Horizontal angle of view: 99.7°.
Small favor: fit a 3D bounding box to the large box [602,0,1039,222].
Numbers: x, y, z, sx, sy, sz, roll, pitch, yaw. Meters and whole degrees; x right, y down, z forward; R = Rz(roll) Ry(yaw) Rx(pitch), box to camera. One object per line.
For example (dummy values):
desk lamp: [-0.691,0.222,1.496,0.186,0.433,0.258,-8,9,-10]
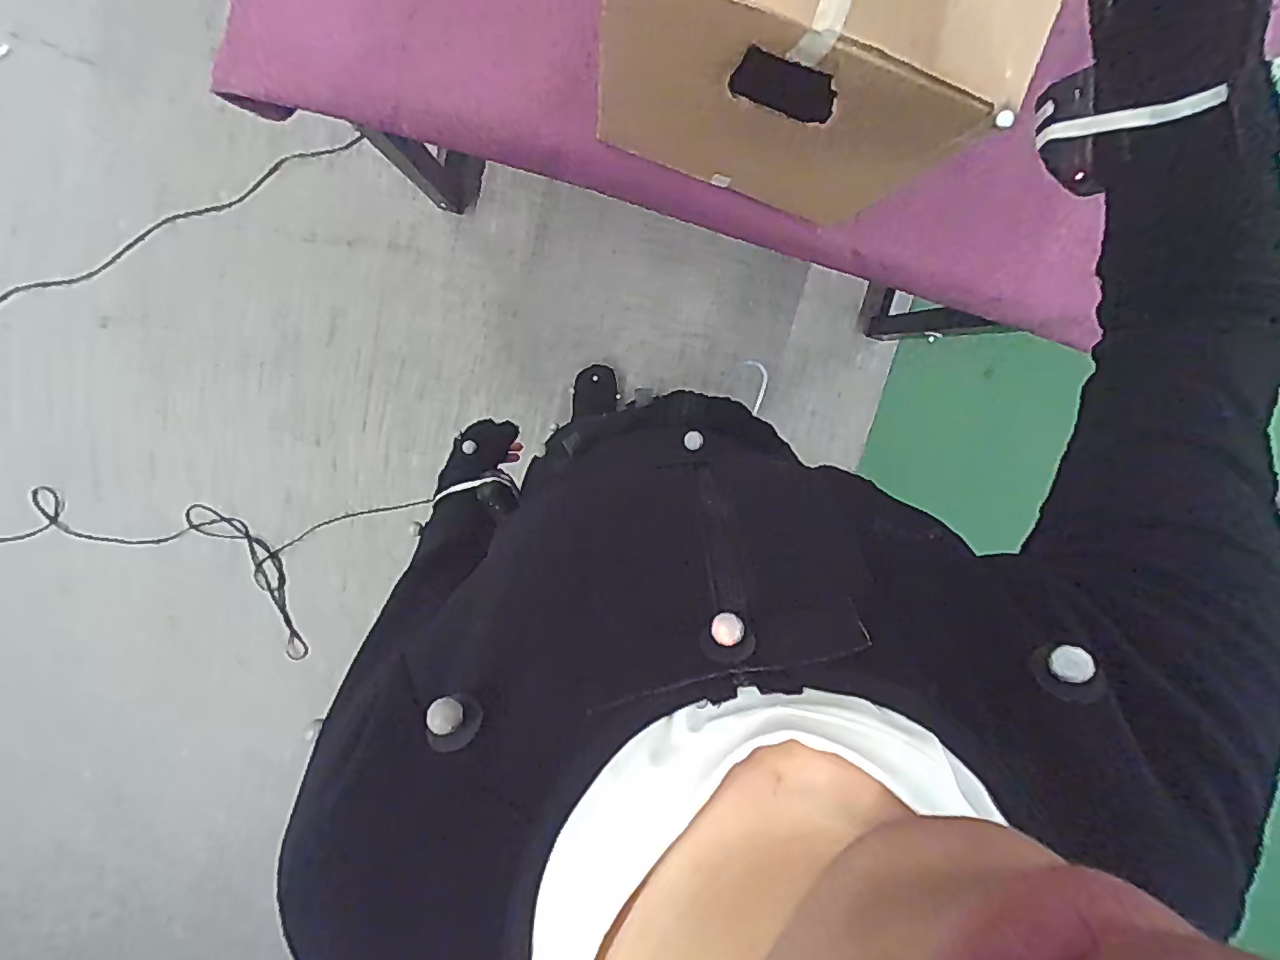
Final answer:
large box: [0.166,-0.526,0.501,0.320,0.320,0.408,16,101,-8]
